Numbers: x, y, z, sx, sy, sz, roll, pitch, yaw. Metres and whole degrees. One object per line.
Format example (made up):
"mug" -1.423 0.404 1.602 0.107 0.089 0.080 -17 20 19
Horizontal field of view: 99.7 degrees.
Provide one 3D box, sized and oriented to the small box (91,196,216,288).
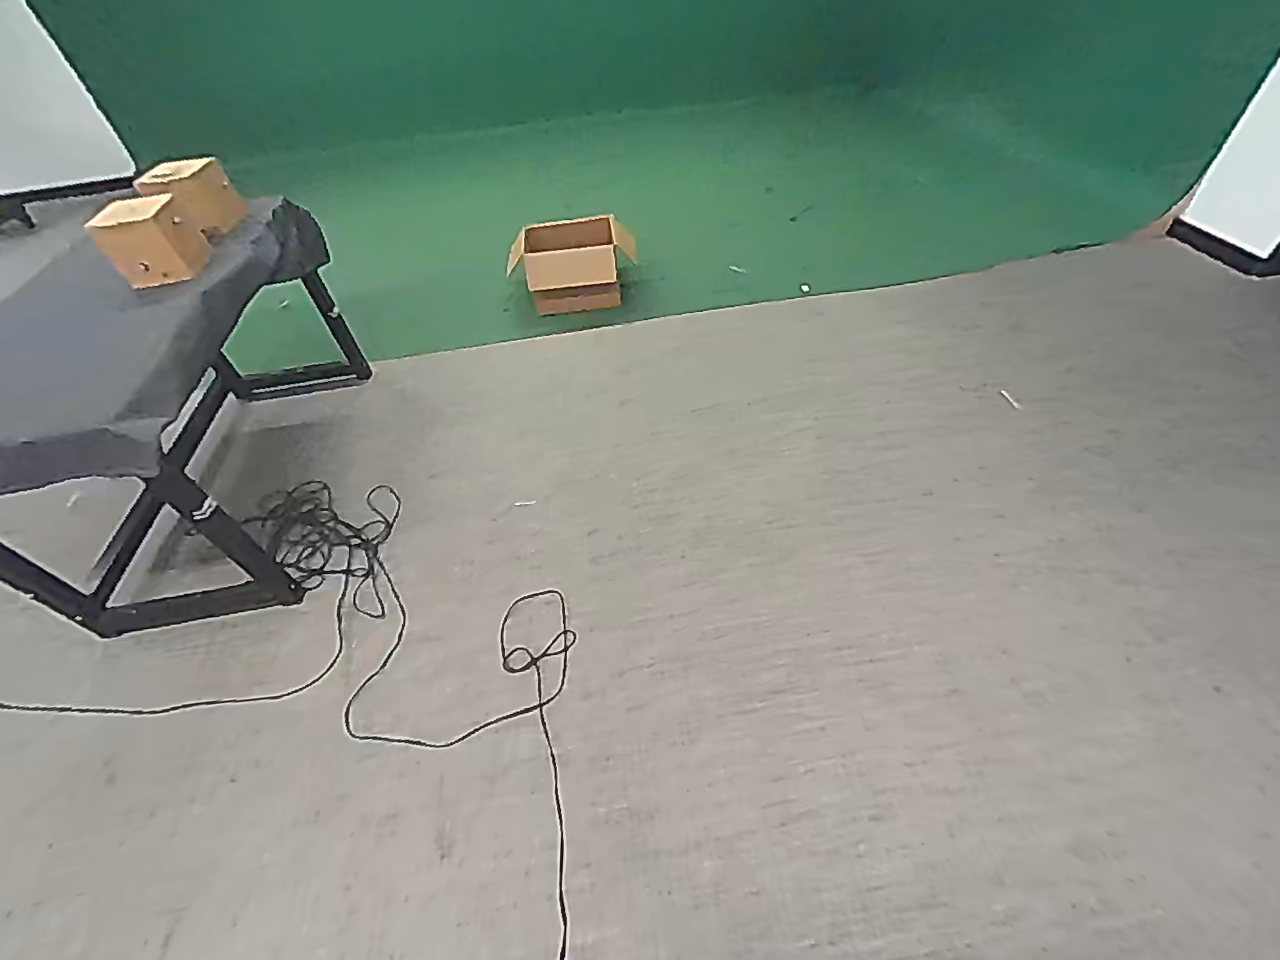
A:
"small box" -1.313 -0.650 1.478 0.168 0.176 0.179 -11 49 -4
